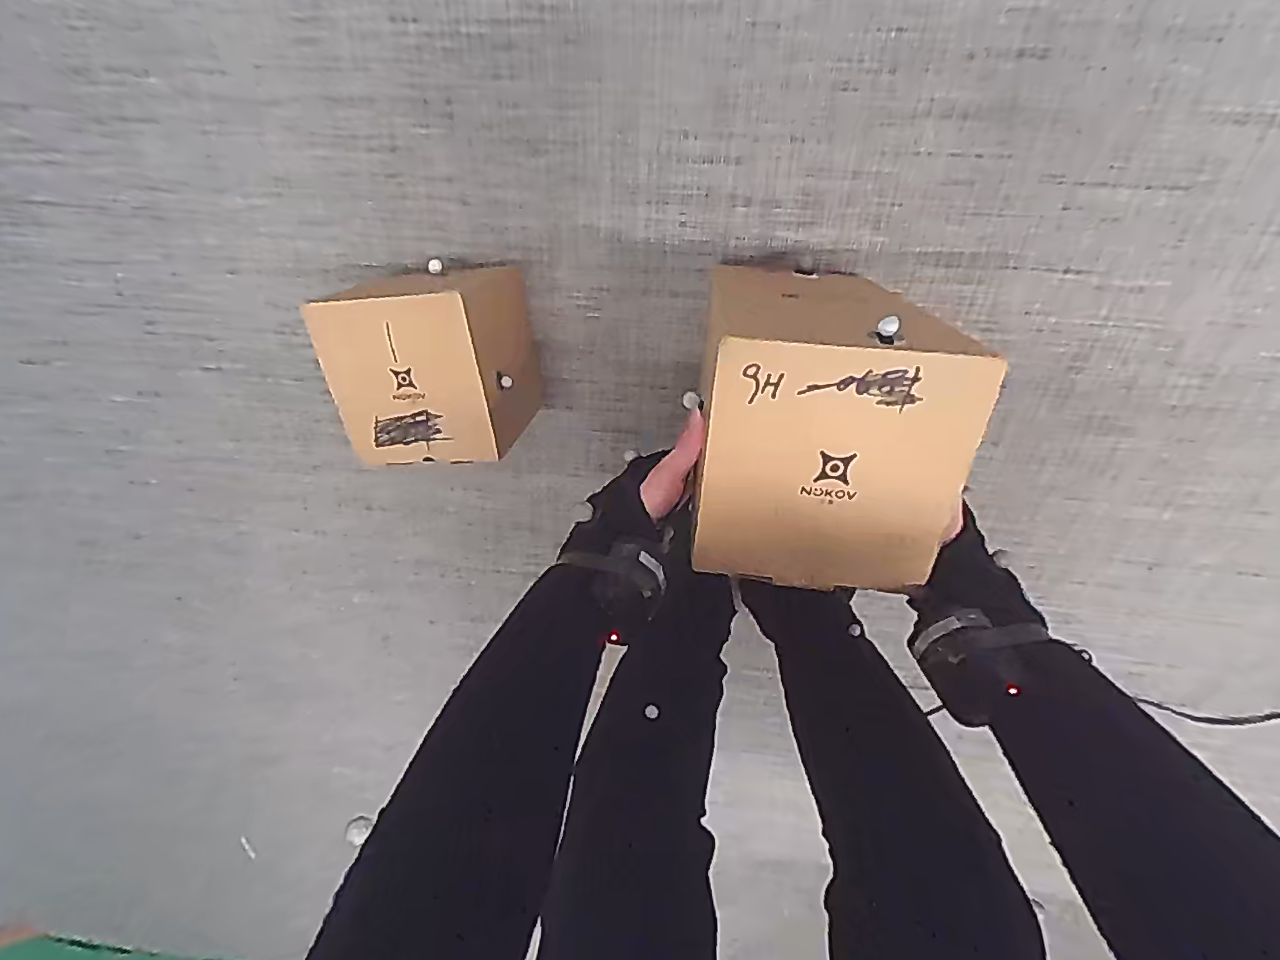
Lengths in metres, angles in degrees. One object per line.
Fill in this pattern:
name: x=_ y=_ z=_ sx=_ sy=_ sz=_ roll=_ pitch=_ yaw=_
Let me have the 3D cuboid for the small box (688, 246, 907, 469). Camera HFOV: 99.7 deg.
small box: x=0.143 y=-0.132 z=0.557 sx=0.168 sy=0.176 sz=0.179 roll=6 pitch=119 yaw=4

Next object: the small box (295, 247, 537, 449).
small box: x=-0.225 y=-0.149 z=0.601 sx=0.168 sy=0.176 sz=0.179 roll=-1 pitch=120 yaw=9
